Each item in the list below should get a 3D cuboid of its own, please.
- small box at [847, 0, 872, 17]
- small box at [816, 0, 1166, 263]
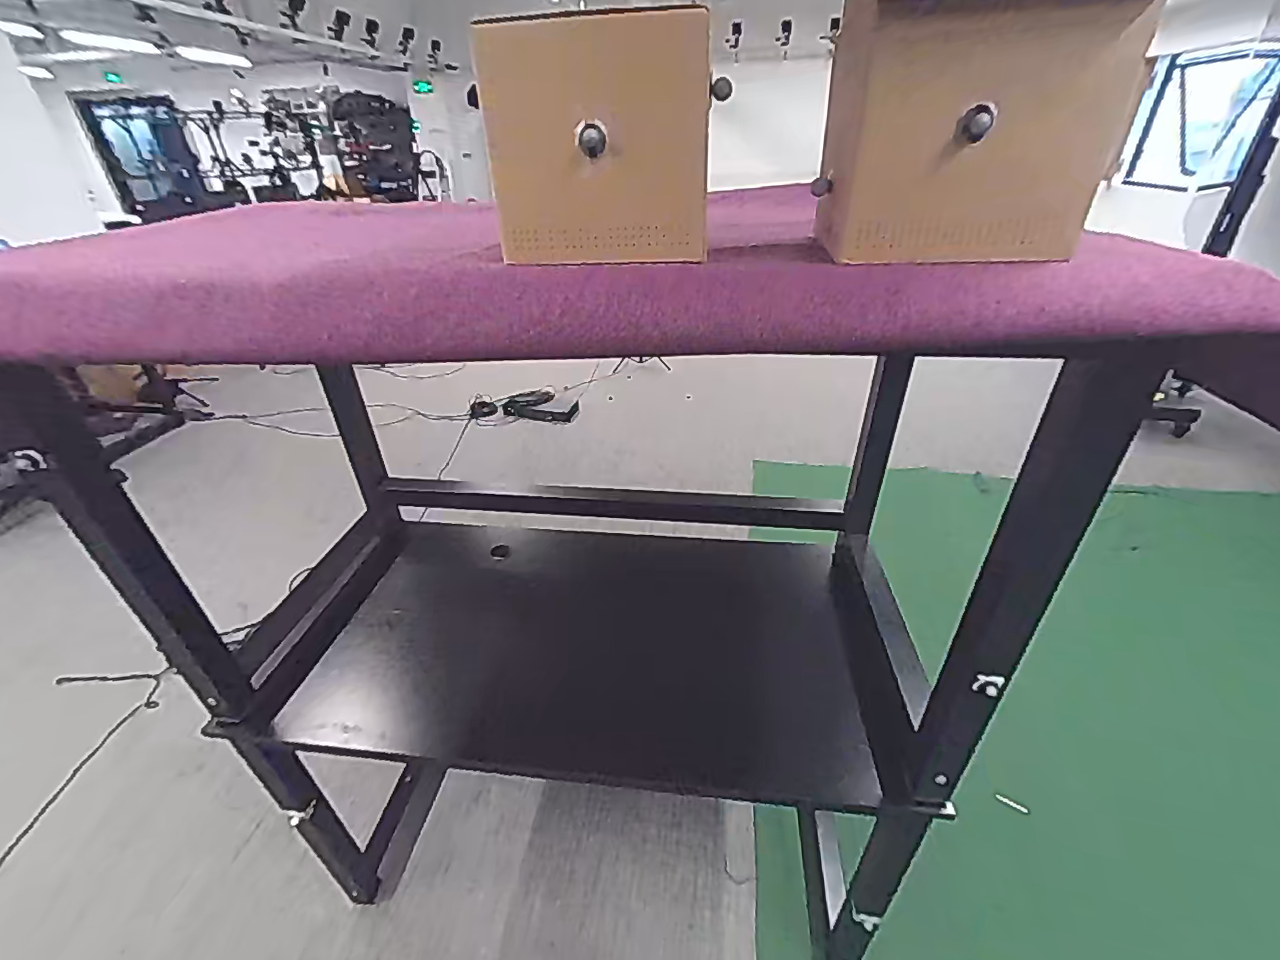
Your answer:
[{"bbox_3d":[0.247,-0.412,0.342,0.179,0.176,0.168,2,32,8],"label":"small box"},{"bbox_3d":[0.254,-0.284,0.447,0.179,0.176,0.168,2,32,9],"label":"small box"}]
